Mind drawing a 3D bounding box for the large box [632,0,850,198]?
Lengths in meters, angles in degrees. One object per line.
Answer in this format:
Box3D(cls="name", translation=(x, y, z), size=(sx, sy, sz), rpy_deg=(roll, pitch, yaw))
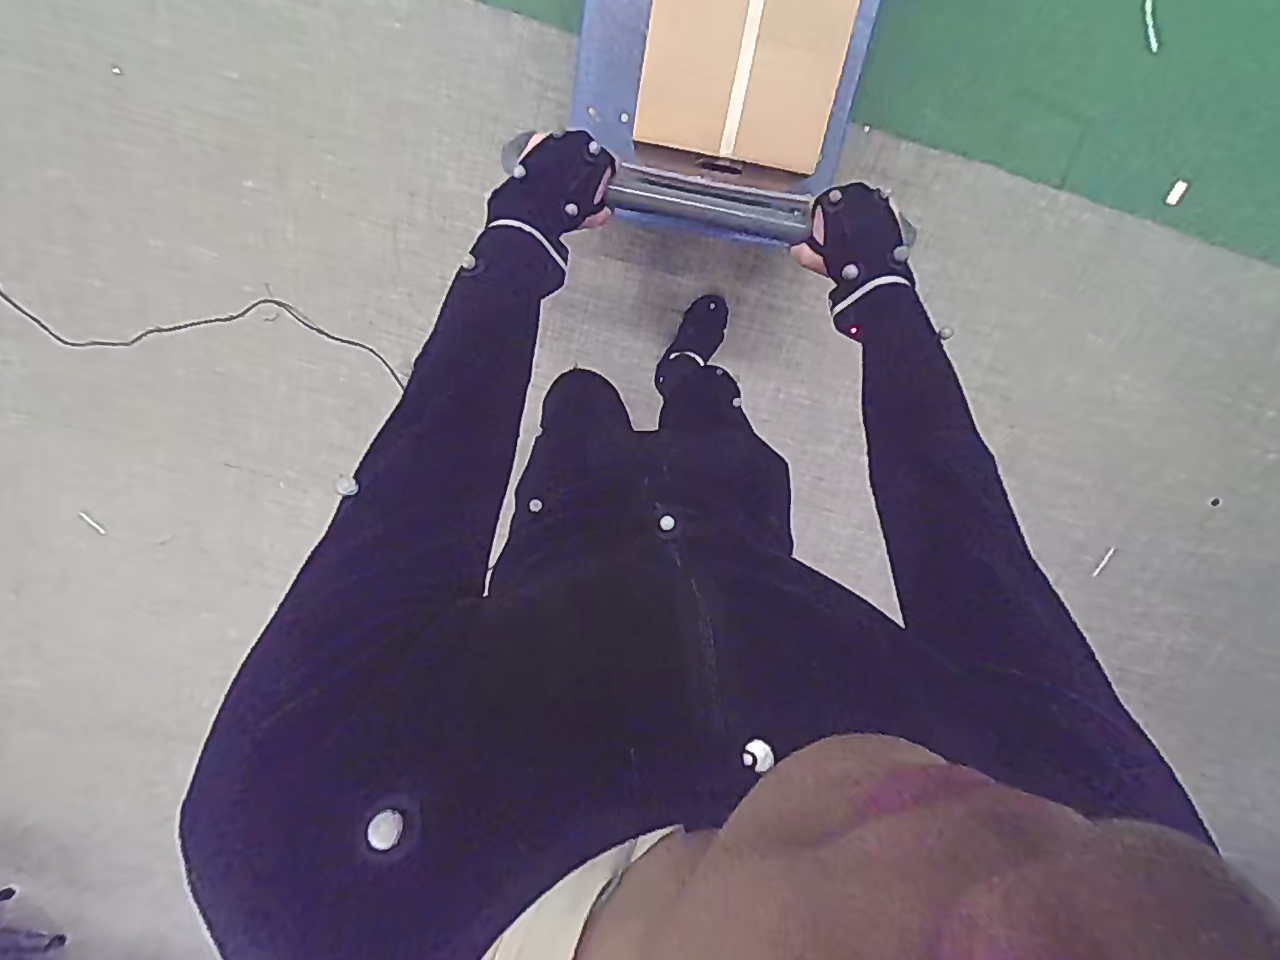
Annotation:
Box3D(cls="large box", translation=(0.172, -0.774, 0.980), size=(0.320, 0.320, 0.408), rpy_deg=(10, 110, -2))
